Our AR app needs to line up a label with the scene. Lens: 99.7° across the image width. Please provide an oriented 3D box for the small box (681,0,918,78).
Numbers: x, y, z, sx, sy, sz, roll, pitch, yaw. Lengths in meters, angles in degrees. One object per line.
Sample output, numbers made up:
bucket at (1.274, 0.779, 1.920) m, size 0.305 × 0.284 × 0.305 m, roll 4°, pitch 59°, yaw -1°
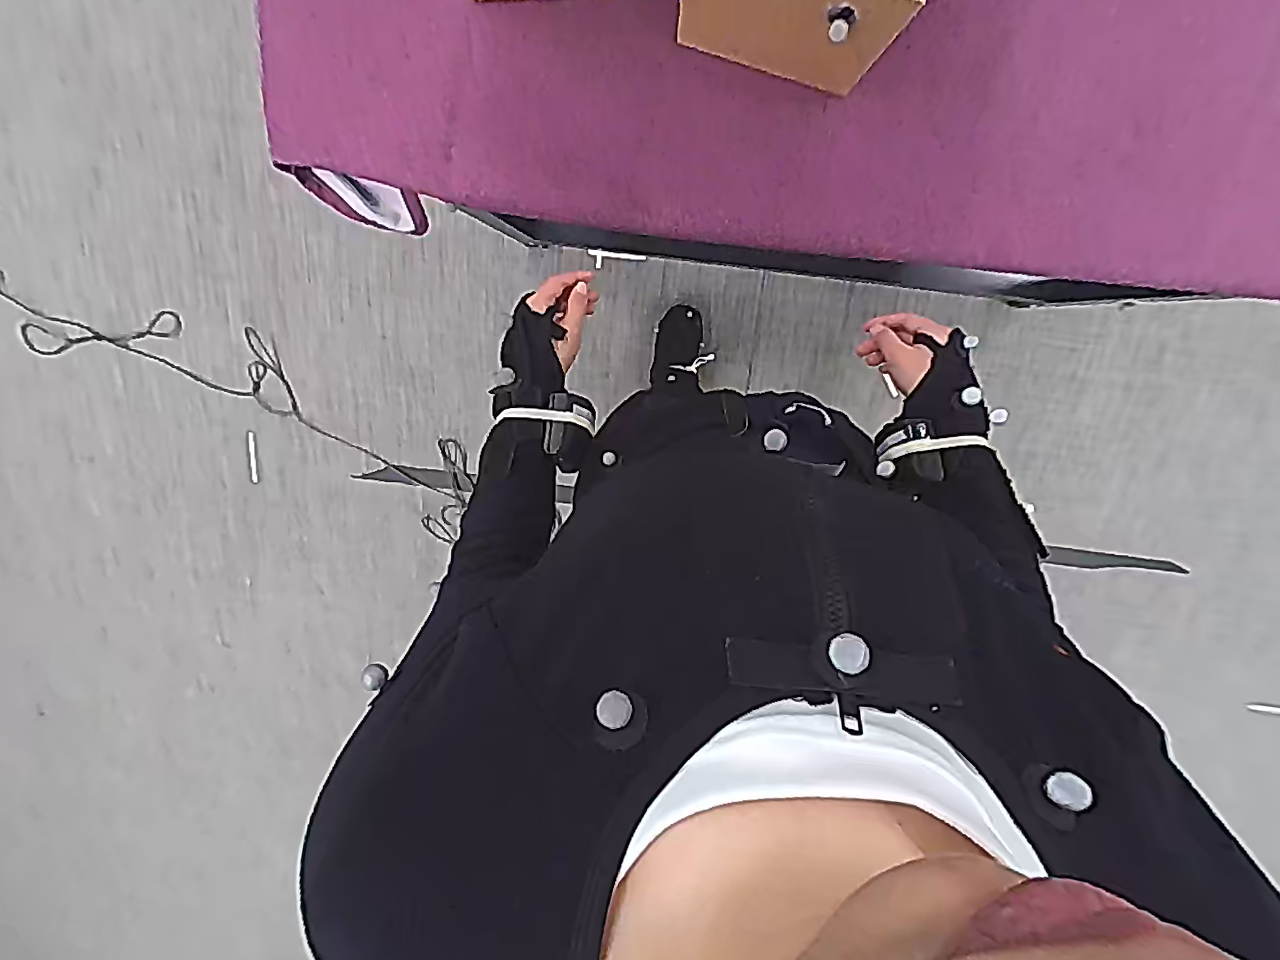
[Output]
small box at (0.139, -0.457, 0.424) m, size 0.179 × 0.176 × 0.168 m, roll 16°, pitch 106°, yaw -3°
